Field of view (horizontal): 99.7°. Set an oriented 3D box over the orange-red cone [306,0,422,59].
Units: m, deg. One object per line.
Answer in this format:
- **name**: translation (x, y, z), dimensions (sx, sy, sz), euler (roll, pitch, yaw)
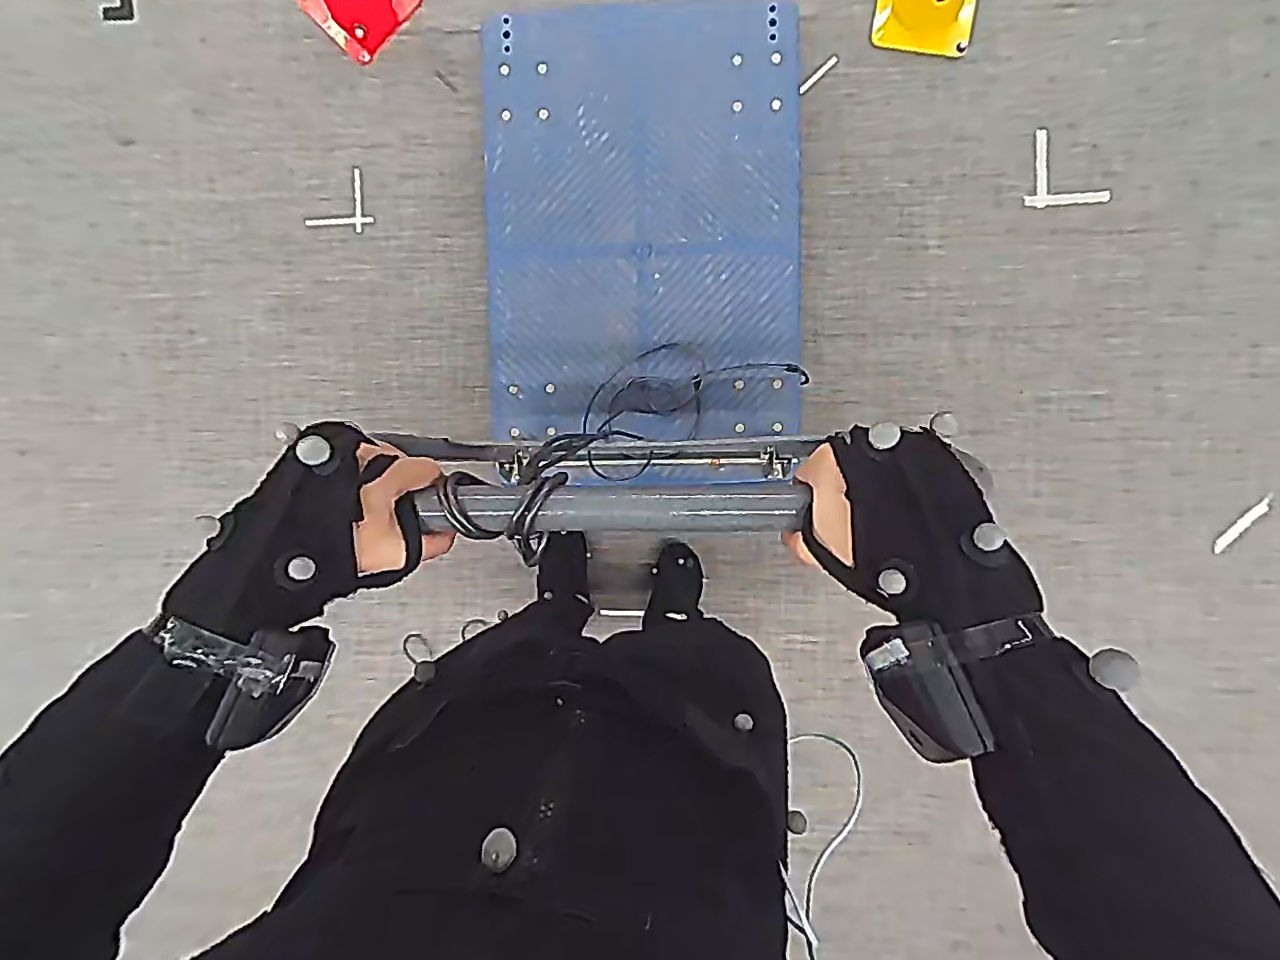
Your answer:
- **orange-red cone**: translation (-0.591, -1.022, 0.983), dimensions (0.199, 0.360, 0.198), euler (-44, 91, 2)
